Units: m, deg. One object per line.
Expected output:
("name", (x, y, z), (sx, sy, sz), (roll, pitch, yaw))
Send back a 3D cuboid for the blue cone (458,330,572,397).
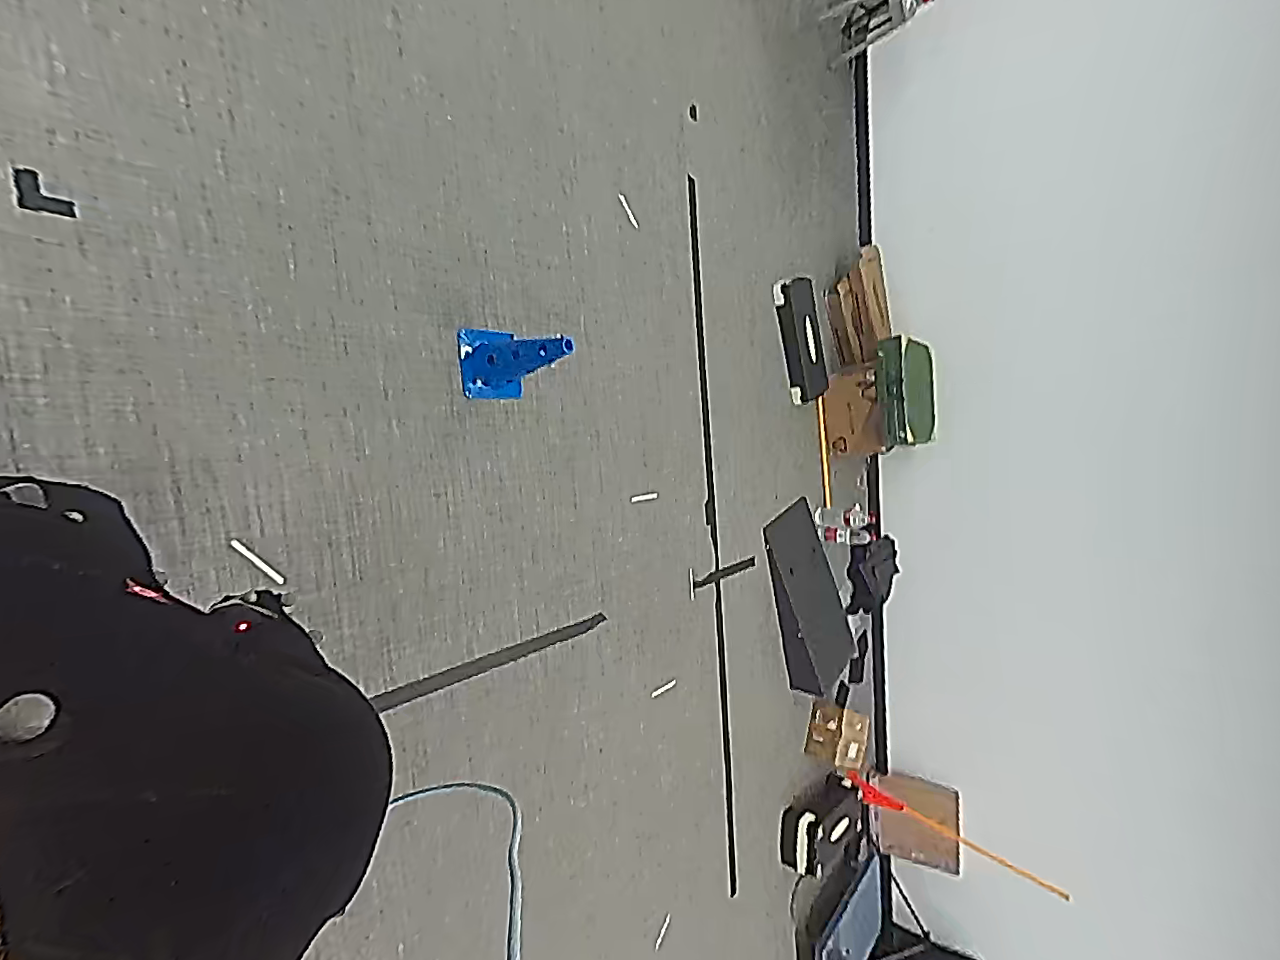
("blue cone", (-0.318, -0.341, 1.474), (0.193, 0.380, 0.192), (-7, 95, -48))
